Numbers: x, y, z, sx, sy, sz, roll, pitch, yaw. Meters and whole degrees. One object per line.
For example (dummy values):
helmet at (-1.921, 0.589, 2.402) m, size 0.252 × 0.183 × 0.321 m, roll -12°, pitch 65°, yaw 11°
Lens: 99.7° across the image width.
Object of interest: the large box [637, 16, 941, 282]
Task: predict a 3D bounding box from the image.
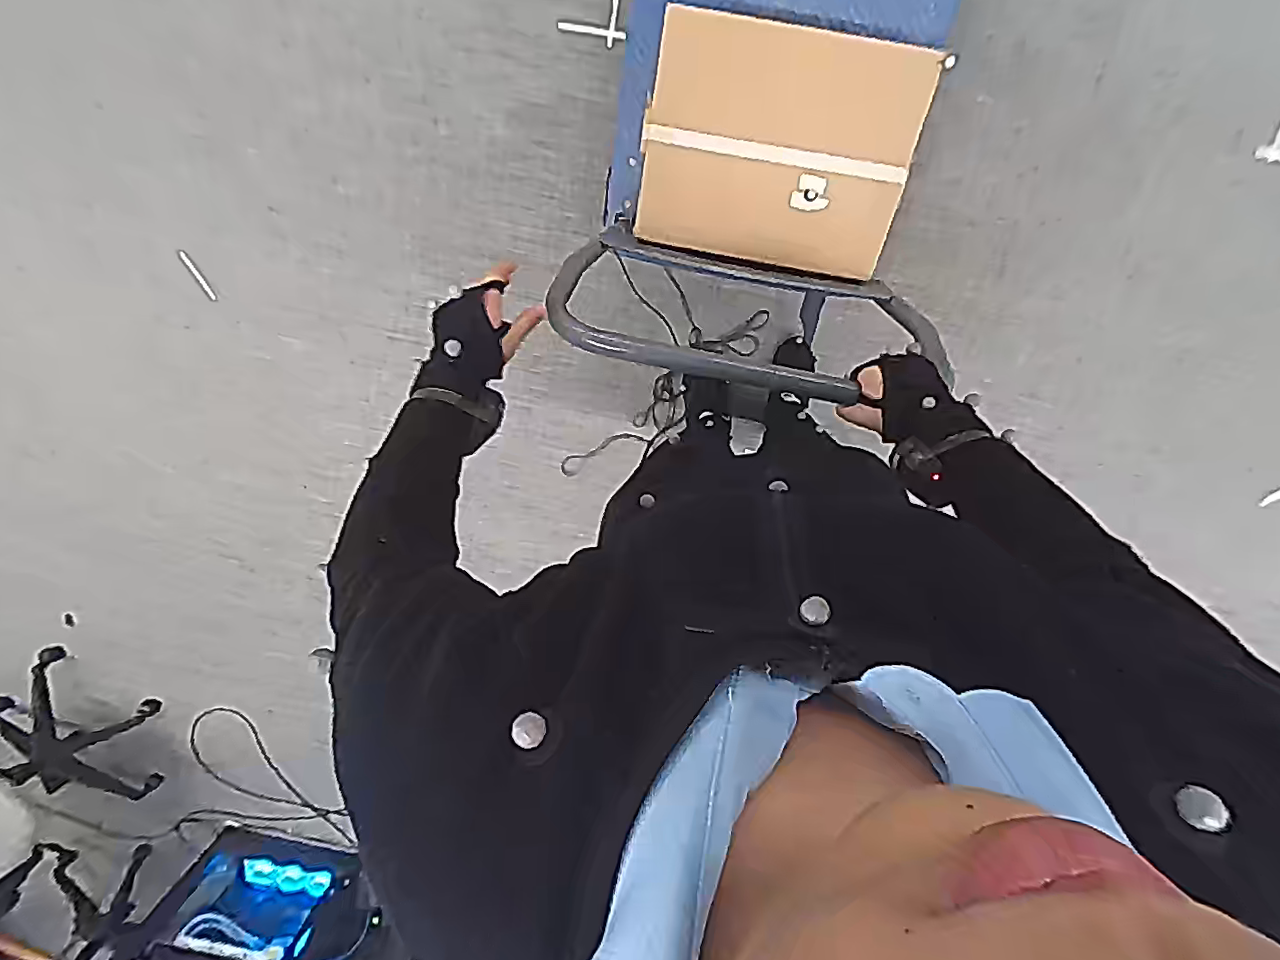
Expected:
large box at (0.221, -0.560, 0.963) m, size 0.408 × 0.320 × 0.320 m, roll 10°, pitch 119°, yaw 1°
